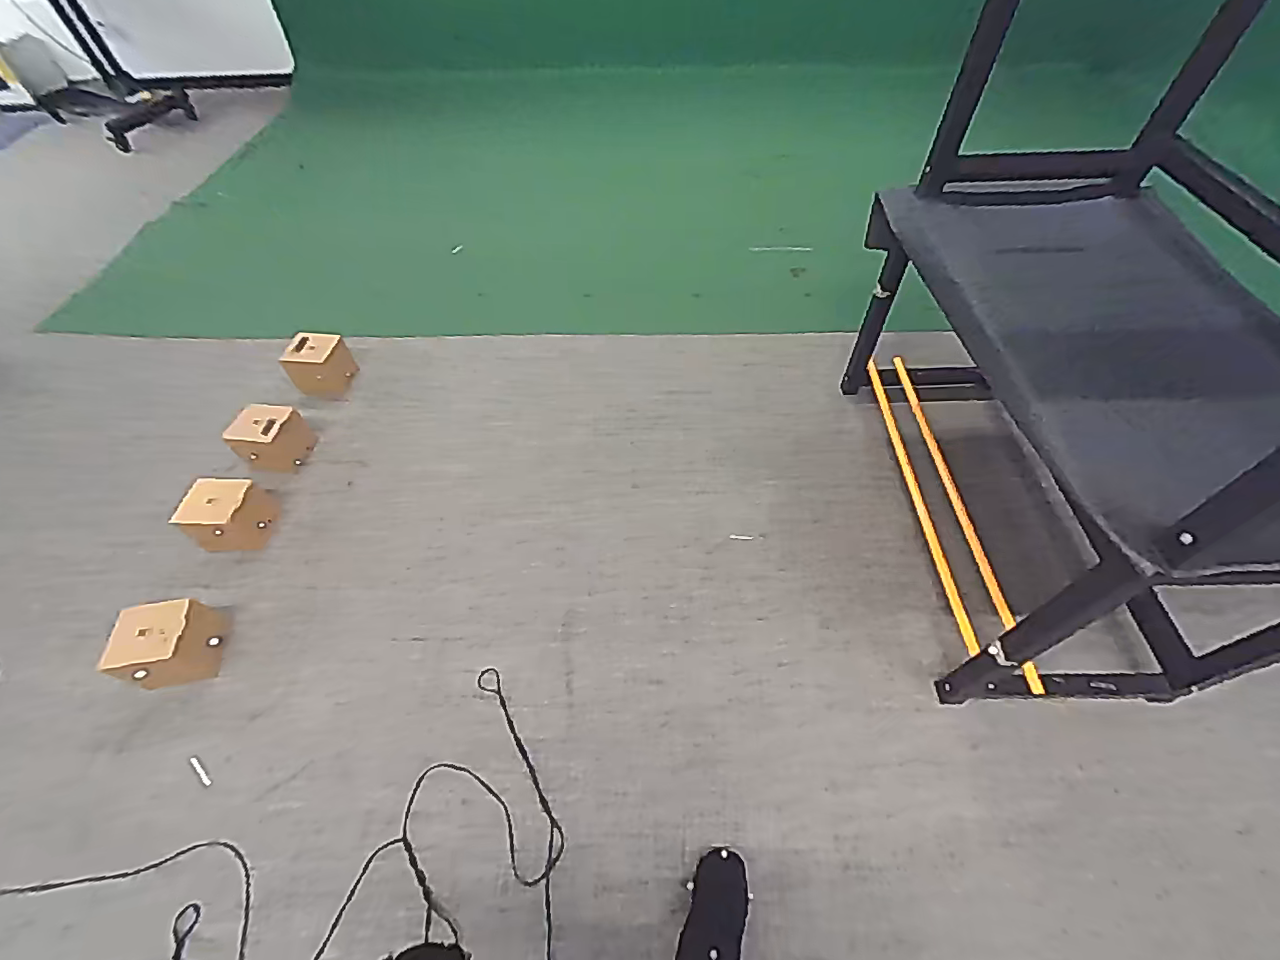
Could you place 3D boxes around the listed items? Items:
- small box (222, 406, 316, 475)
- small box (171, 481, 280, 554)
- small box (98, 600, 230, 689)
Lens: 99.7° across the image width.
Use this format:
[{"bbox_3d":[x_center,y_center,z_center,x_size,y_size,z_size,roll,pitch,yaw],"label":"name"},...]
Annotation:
[{"bbox_3d":[-1.270,-0.133,1.868,0.179,0.176,0.168,5,52,7],"label":"small box"},{"bbox_3d":[-1.274,0.118,1.678,0.179,0.176,0.168,1,53,2],"label":"small box"},{"bbox_3d":[-1.247,0.440,1.431,0.179,0.176,0.168,-9,54,-5],"label":"small box"}]
